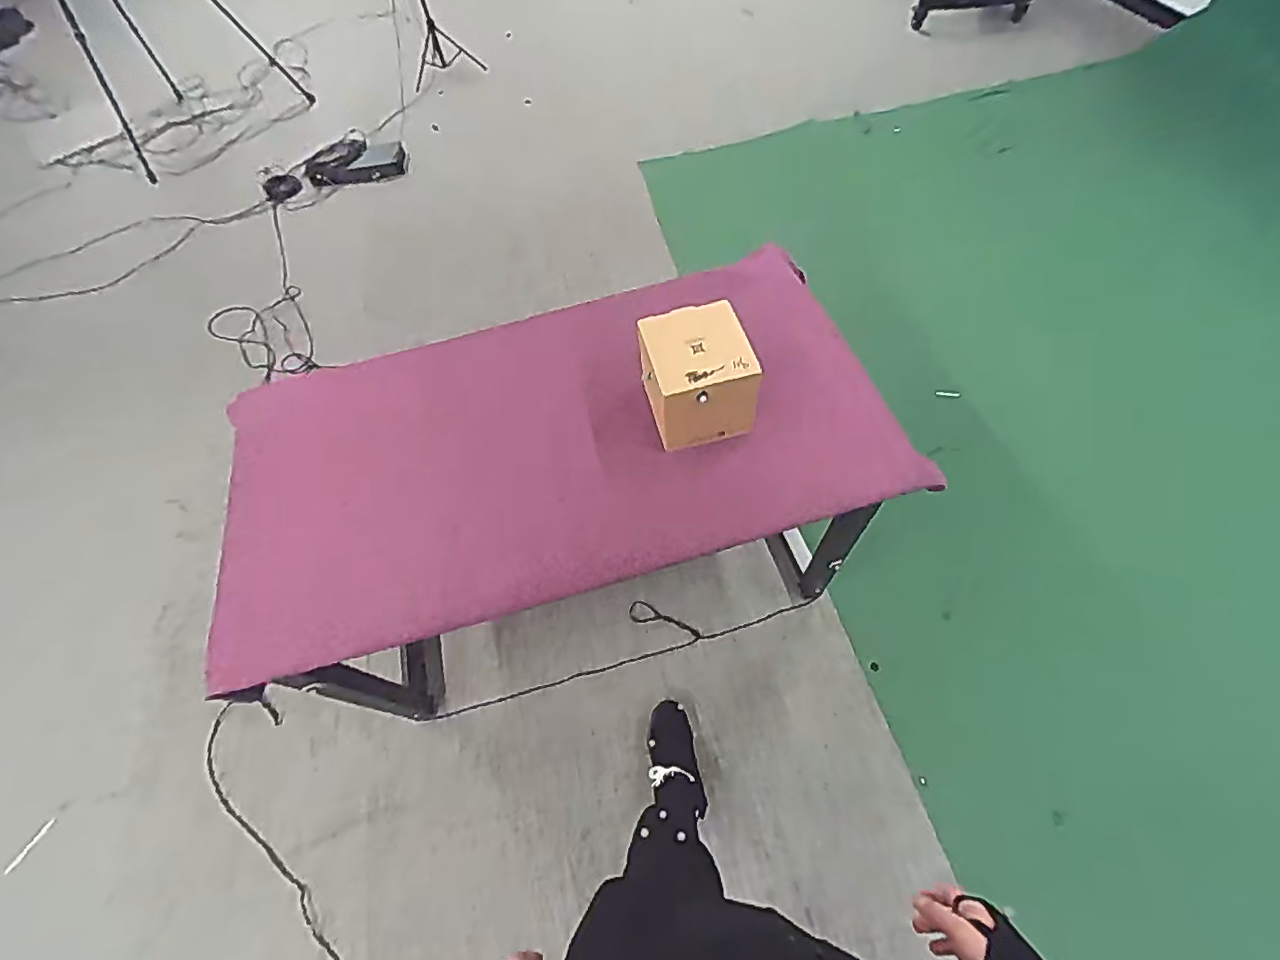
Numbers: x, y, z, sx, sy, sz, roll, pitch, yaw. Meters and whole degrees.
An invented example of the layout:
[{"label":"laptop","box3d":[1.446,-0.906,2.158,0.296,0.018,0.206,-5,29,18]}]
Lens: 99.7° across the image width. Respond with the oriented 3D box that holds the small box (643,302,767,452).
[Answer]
[{"label":"small box","box3d":[0.107,-0.176,0.948,0.168,0.176,0.179,-14,59,-2]}]
